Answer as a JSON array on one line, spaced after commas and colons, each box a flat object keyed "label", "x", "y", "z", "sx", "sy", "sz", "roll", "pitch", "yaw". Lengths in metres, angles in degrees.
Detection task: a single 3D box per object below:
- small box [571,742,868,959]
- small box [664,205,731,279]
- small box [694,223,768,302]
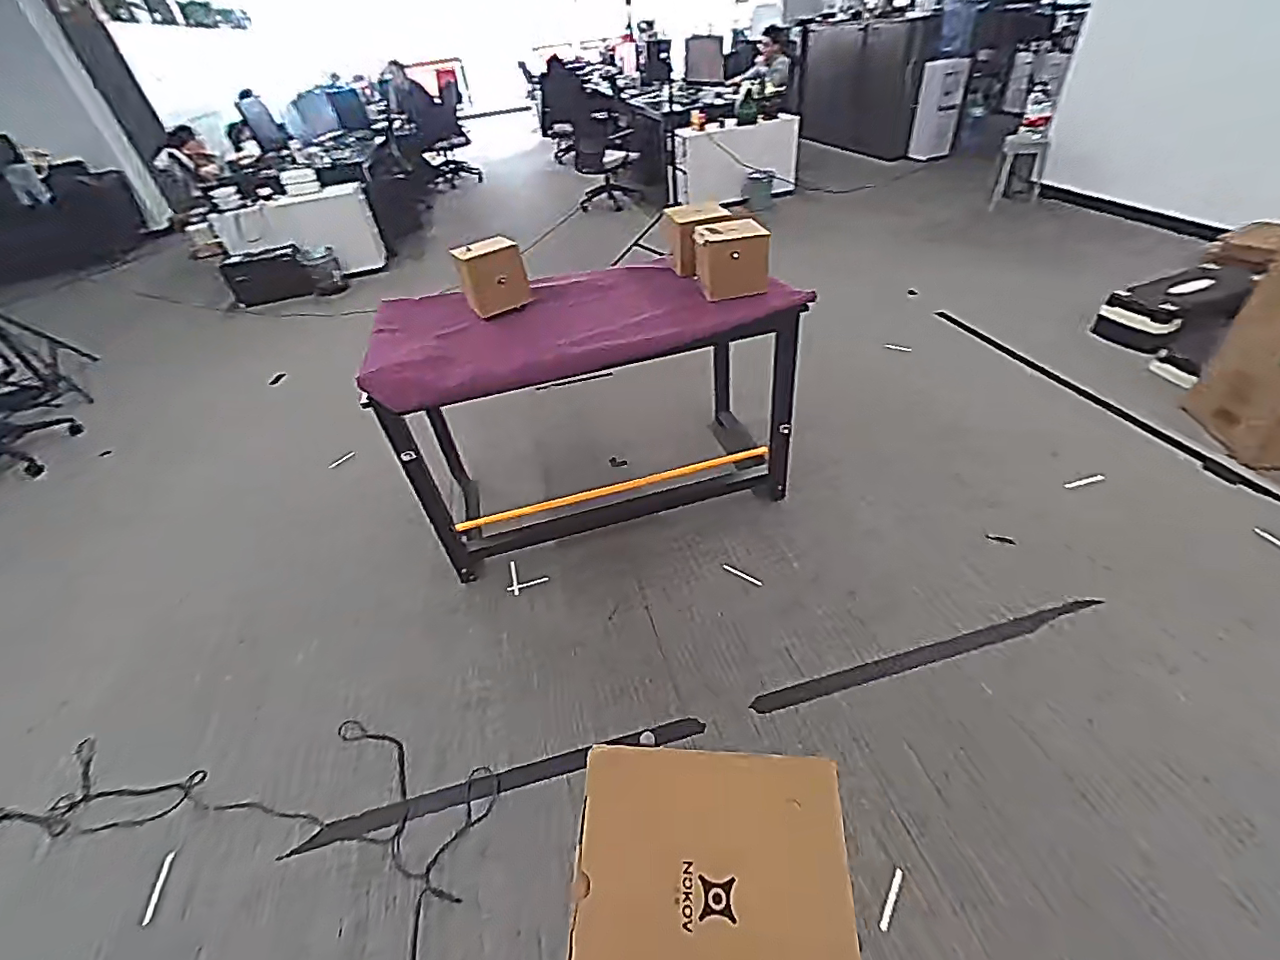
[{"label": "small box", "x": 0.055, "y": 0.299, "z": 0.403, "sx": 0.179, "sy": 0.176, "sz": 0.168, "roll": -2, "pitch": 56, "yaw": 8}, {"label": "small box", "x": 0.185, "y": -0.775, "z": 1.761, "sx": 0.179, "sy": 0.176, "sz": 0.168, "roll": -14, "pitch": 41, "yaw": -8}, {"label": "small box", "x": 0.266, "y": -0.637, "z": 1.588, "sx": 0.179, "sy": 0.176, "sz": 0.168, "roll": -10, "pitch": 39, "yaw": -3}]
